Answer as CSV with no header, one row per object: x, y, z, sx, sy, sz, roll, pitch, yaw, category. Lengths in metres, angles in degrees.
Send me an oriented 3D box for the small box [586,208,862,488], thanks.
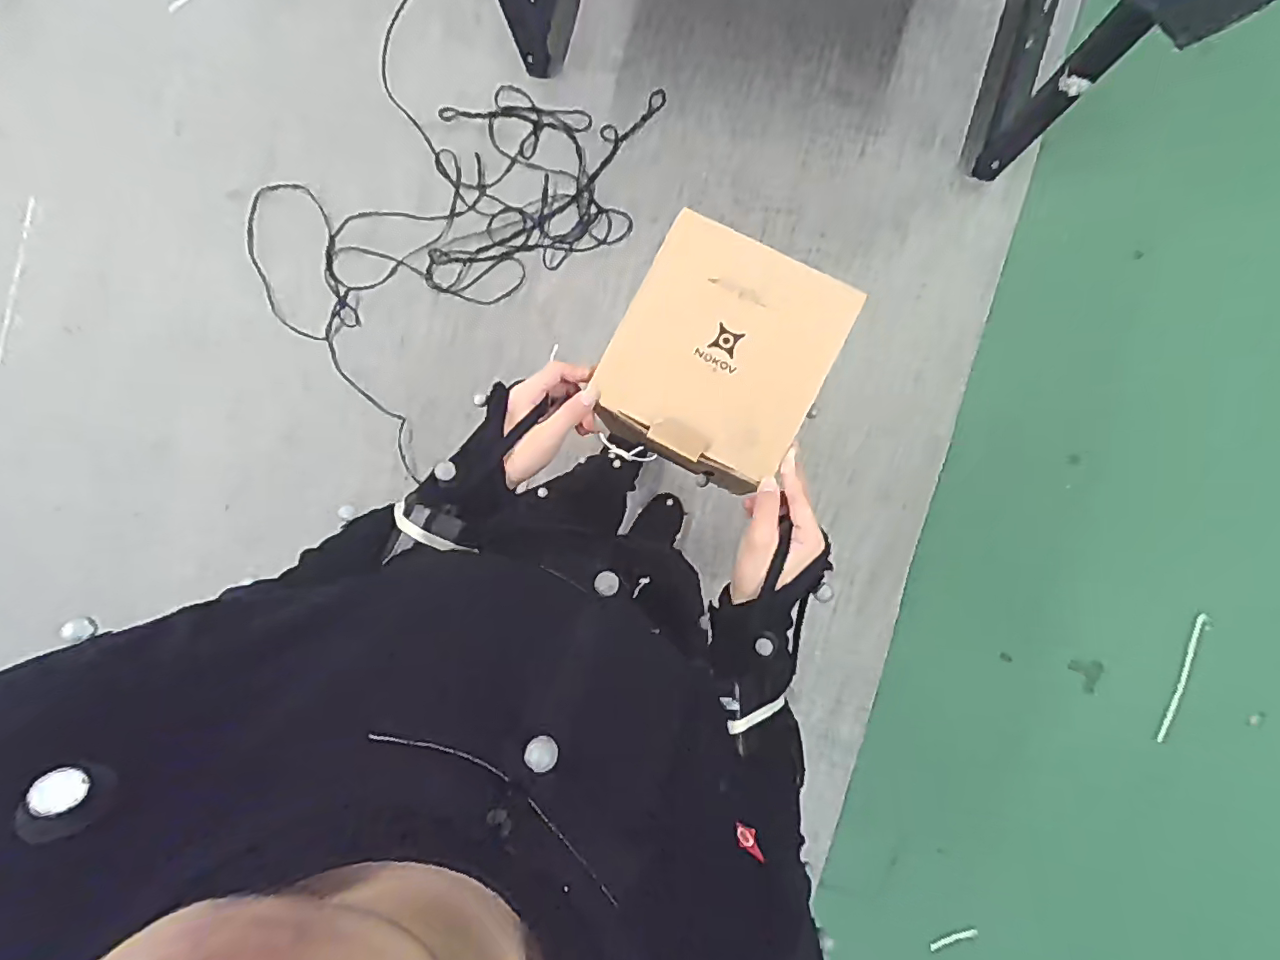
0.071,-0.103,0.507,0.168,0.176,0.179,27,87,3,small box
